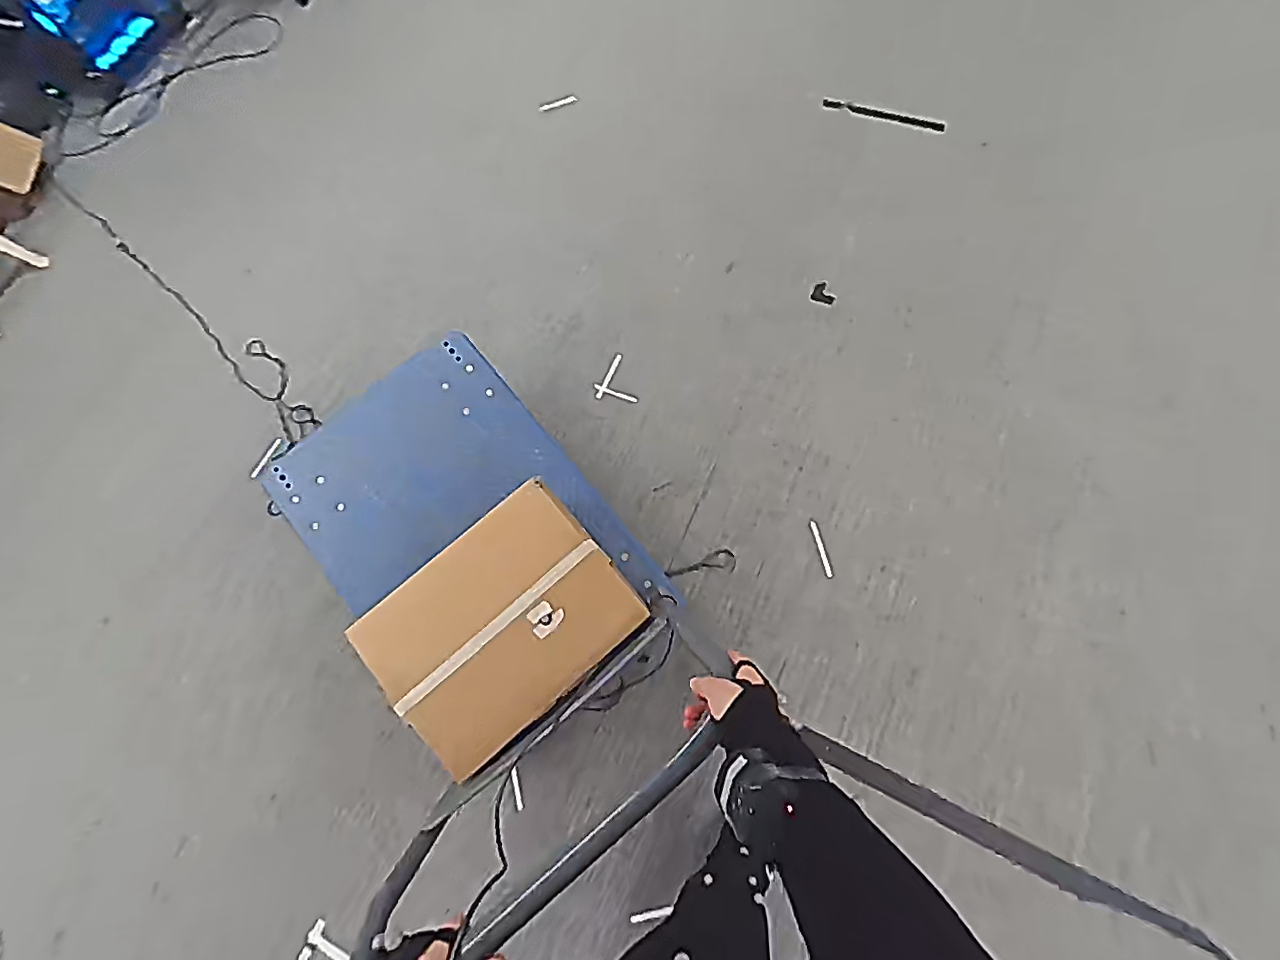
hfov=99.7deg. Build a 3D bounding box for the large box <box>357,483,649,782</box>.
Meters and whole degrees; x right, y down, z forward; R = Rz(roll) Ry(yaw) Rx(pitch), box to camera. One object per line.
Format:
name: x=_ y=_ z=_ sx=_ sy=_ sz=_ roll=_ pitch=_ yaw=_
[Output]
large box: x=-0.231 y=0.274 z=1.050 sx=0.408 sy=0.320 sz=0.320 roll=-41 pitch=83 yaw=-8
